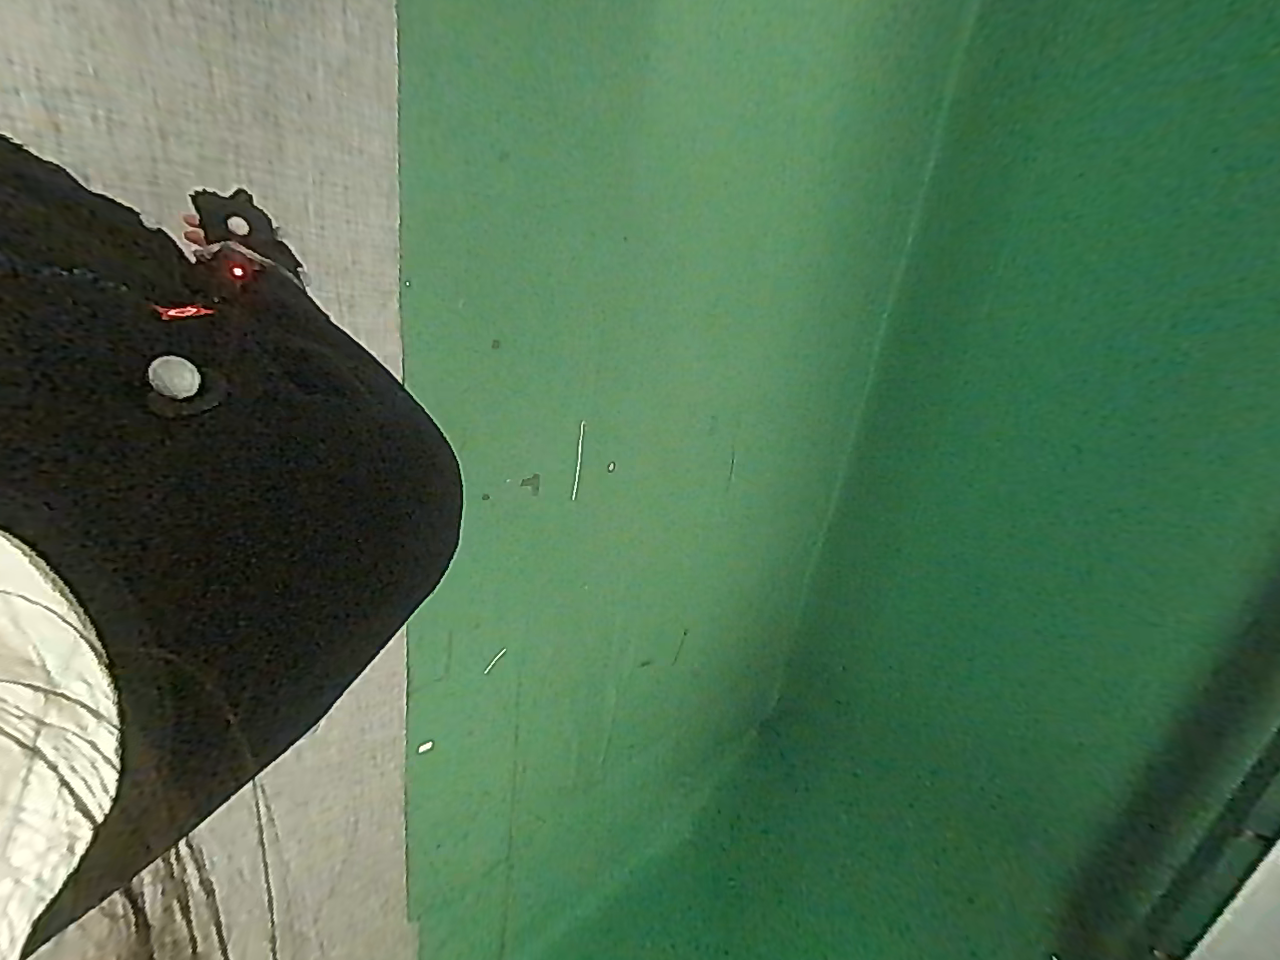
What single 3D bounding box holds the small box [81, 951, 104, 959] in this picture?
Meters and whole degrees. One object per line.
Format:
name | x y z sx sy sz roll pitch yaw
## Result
small box | -1.447 1.358 1.351 0.179 0.176 0.168 -14 121 -46
